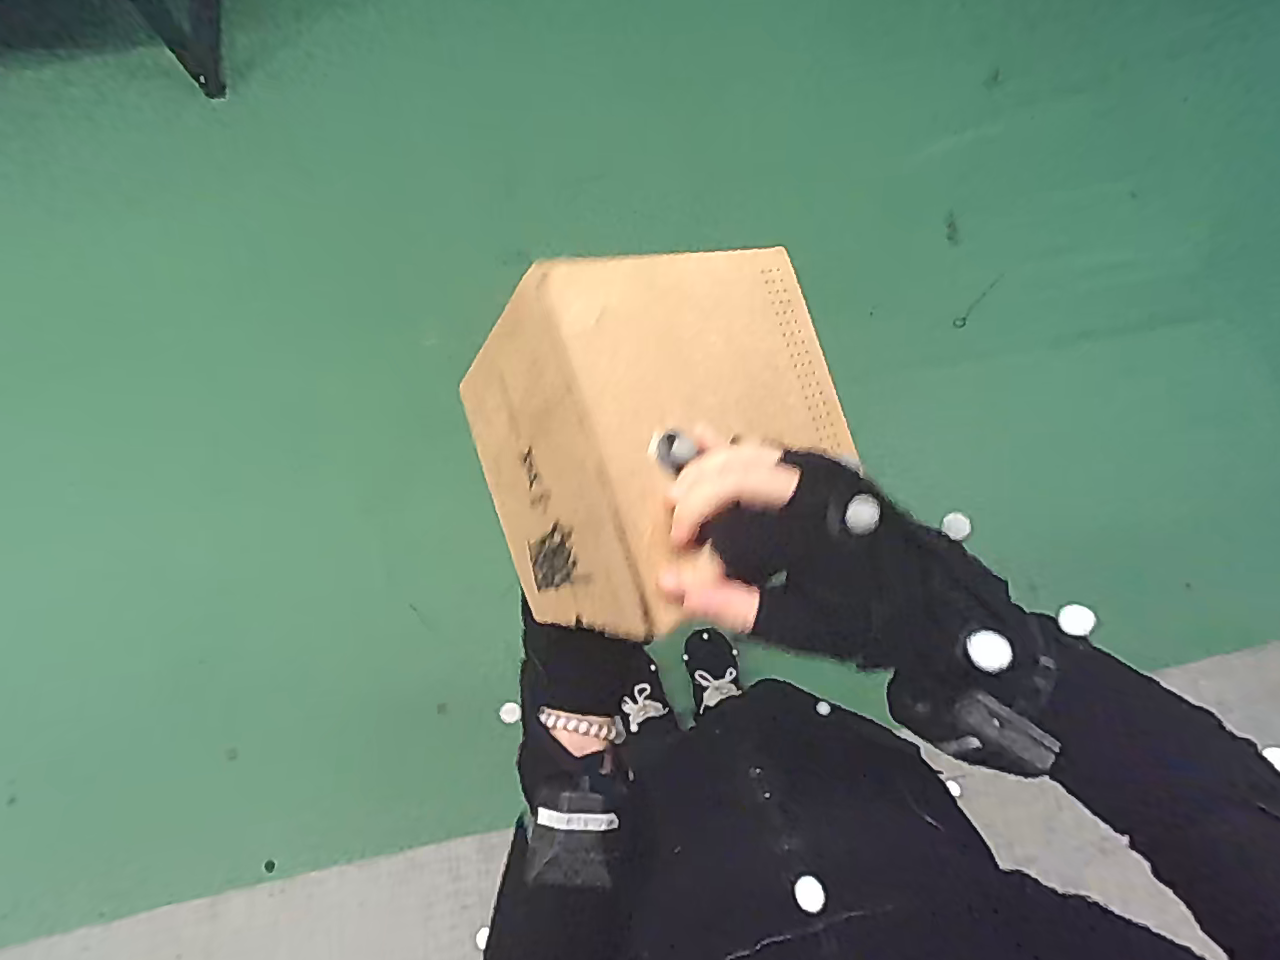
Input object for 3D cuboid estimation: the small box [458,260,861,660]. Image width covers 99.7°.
[{"bbox_3d":[0.006,-0.015,0.343,0.176,0.168,0.179,-20,91,-28],"label":"small box"}]
